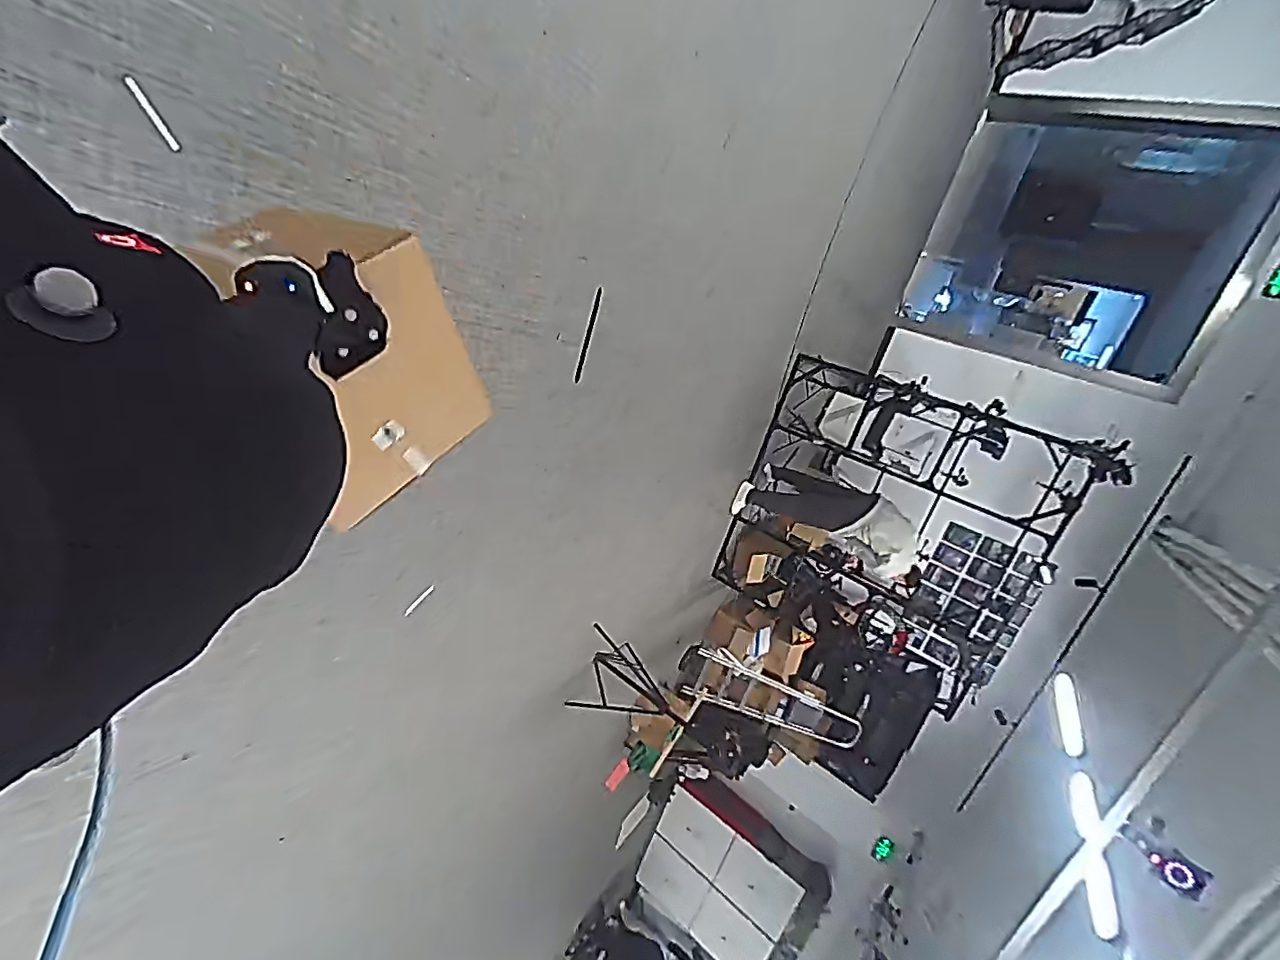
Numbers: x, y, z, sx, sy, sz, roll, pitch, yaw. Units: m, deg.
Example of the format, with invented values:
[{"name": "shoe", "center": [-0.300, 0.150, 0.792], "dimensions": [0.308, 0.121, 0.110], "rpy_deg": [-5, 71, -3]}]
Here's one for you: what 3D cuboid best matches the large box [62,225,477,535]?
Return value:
[{"name": "large box", "center": [-0.541, -0.173, 0.844], "dimensions": [0.320, 0.408, 0.320], "rpy_deg": [-48, 144, -33]}]
